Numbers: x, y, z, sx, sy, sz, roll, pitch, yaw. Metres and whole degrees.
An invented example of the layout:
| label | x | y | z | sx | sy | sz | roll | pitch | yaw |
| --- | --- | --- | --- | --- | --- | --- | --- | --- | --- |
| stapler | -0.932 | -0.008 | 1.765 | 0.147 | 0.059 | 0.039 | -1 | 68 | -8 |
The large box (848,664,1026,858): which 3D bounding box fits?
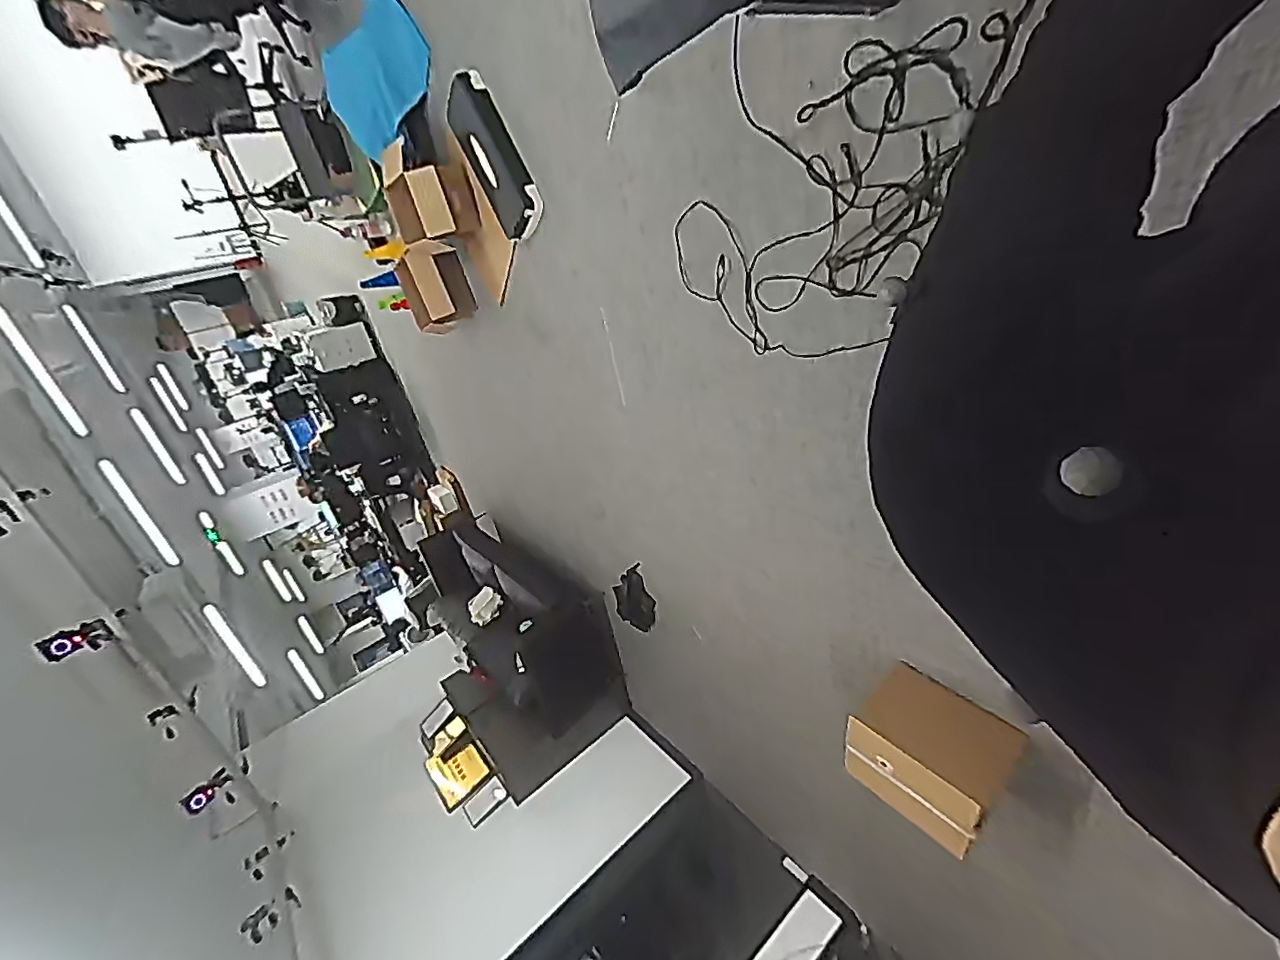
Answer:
| label | x | y | z | sx | sy | sz | roll | pitch | yaw |
| --- | --- | --- | --- | --- | --- | --- | --- | --- | --- |
| large box | 0.950 | 0.890 | 1.762 | 0.408 | 0.320 | 0.320 | 28 | 136 | 46 |
